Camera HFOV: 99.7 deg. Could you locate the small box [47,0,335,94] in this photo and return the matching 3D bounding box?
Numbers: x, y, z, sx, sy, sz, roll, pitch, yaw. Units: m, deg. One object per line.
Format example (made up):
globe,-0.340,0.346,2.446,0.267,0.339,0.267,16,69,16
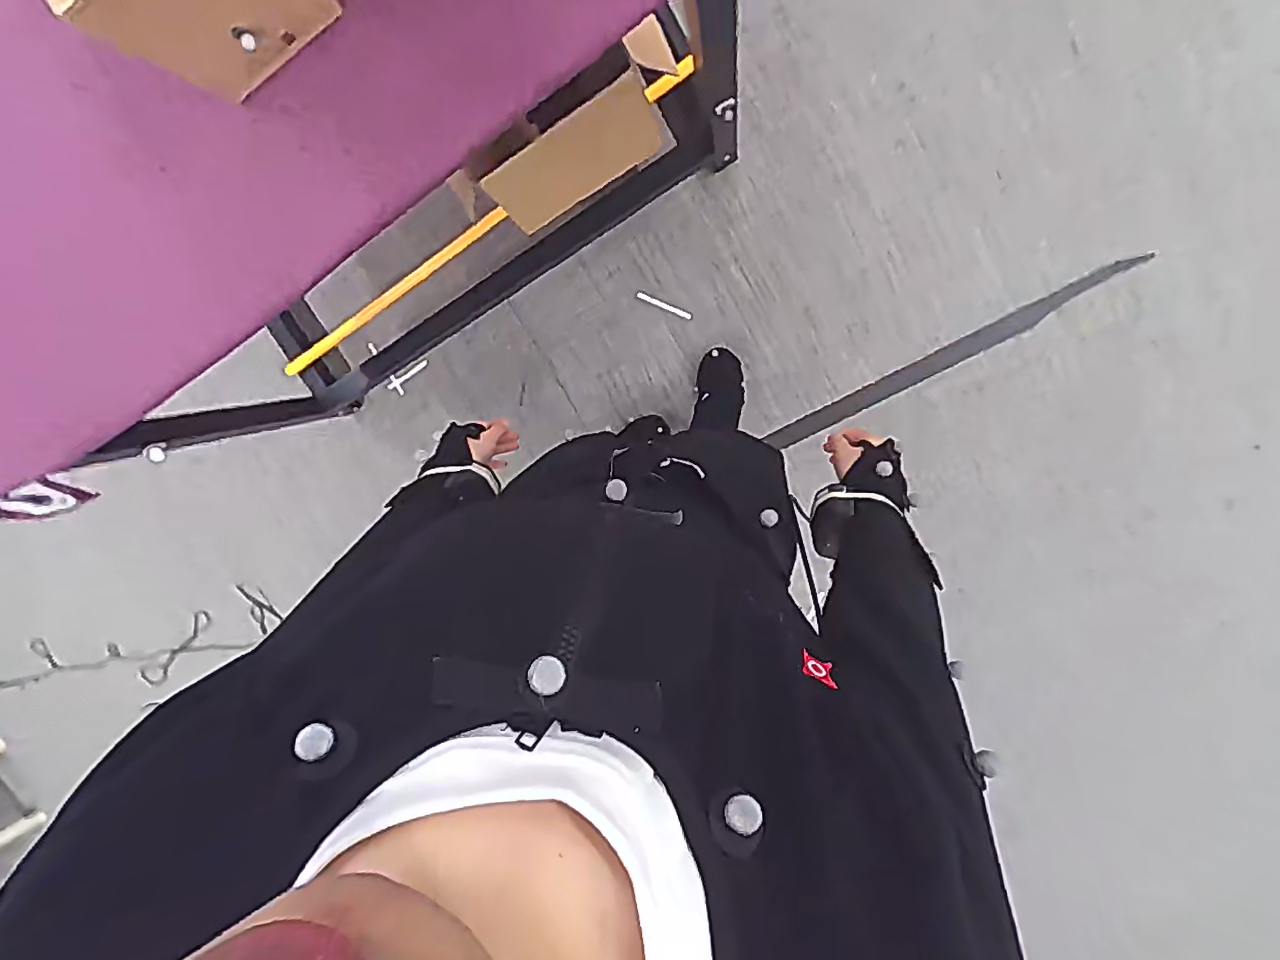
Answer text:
small box,-0.428,-0.507,0.486,0.168,0.176,0.179,-25,99,15
